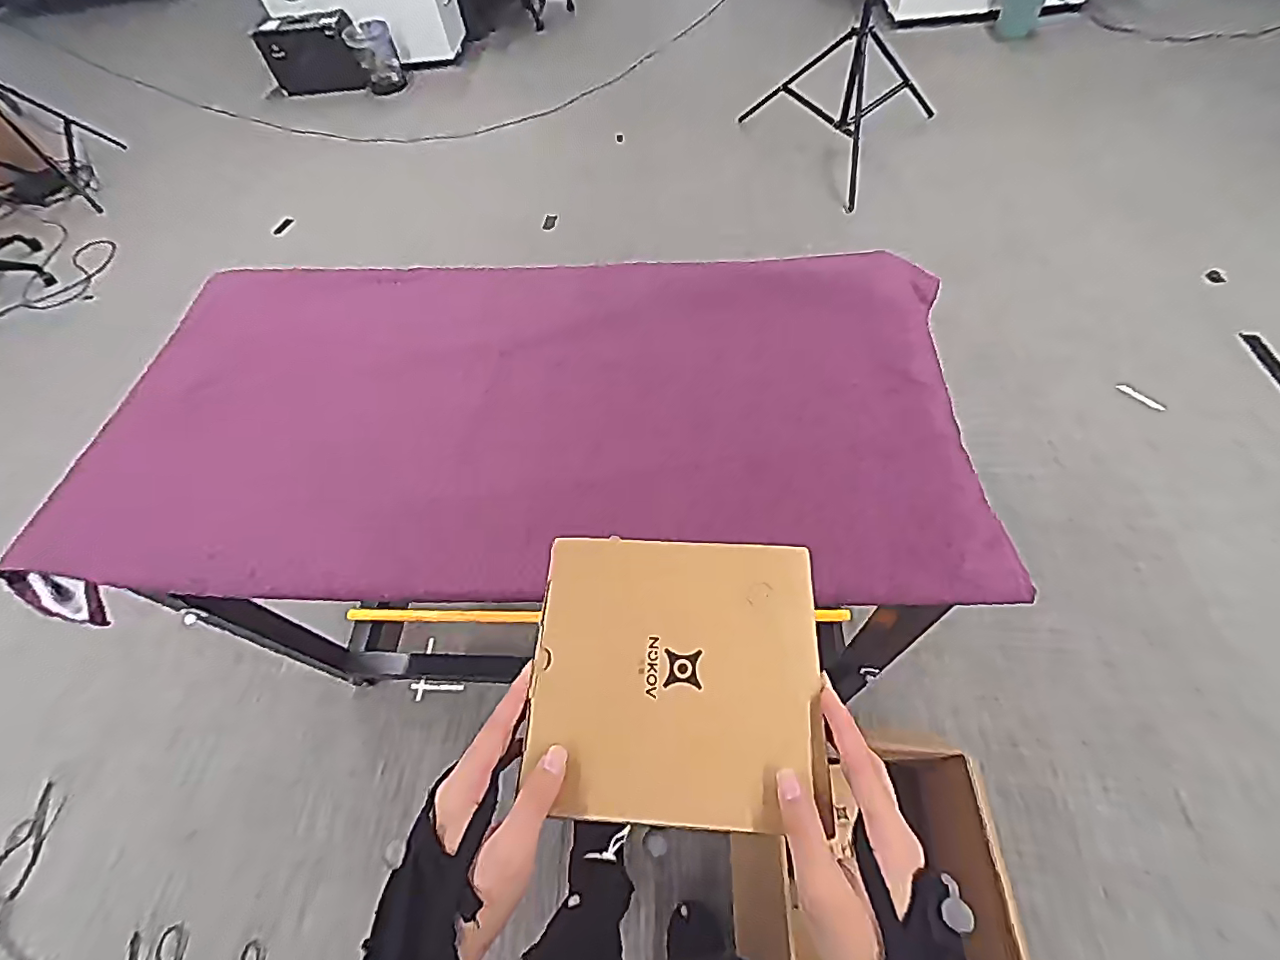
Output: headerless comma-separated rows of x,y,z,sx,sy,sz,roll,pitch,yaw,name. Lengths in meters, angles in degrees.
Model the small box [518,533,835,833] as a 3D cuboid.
0.027,0.150,0.400,0.179,0.176,0.168,1,61,5,small box
